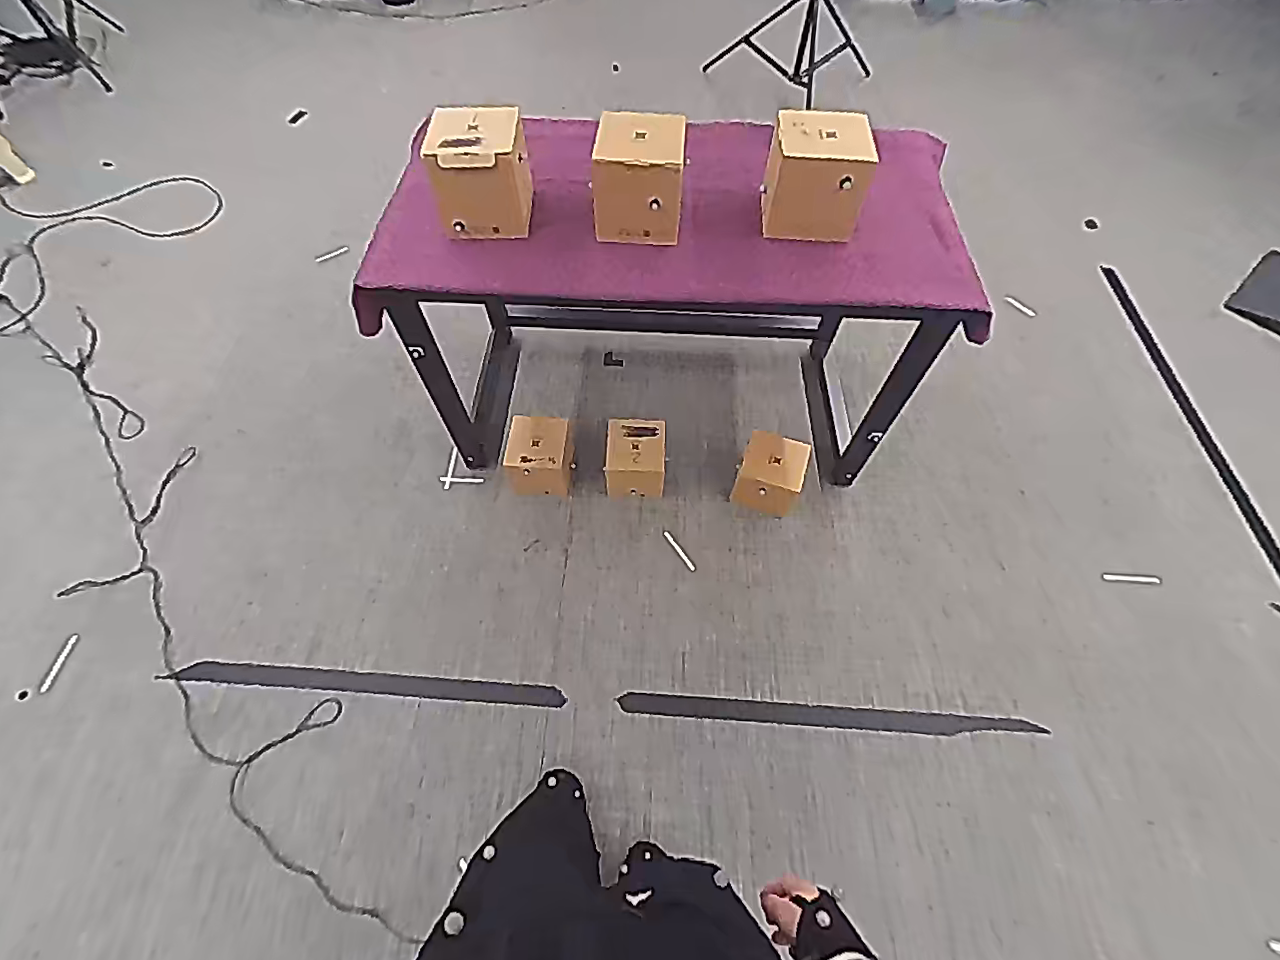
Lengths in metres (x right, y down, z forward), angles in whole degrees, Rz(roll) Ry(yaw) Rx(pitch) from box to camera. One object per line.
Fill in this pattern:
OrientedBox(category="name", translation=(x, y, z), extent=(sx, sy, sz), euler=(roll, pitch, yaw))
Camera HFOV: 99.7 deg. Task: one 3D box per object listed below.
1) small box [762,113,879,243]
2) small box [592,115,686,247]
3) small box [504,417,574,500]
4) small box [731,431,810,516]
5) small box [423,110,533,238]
OrientedBox(category="small box", translation=(0.349, -0.598, 1.081), extent=(0.179, 0.176, 0.168), euler=(4, 59, 2))
OrientedBox(category="small box", translation=(0.001, -0.589, 1.075), extent=(0.168, 0.176, 0.179), euler=(4, 58, 1))
OrientedBox(category="small box", translation=(-0.293, -0.063, 1.609), extent=(0.168, 0.176, 0.179), euler=(5, 58, 2))
OrientedBox(category="small box", translation=(0.378, -0.012, 1.587), extent=(0.179, 0.176, 0.168), euler=(17, 62, 10))
OrientedBox(category="small box", translation=(-0.311, -0.603, 1.076), extent=(0.168, 0.176, 0.179), euler=(-1, 58, -2))
